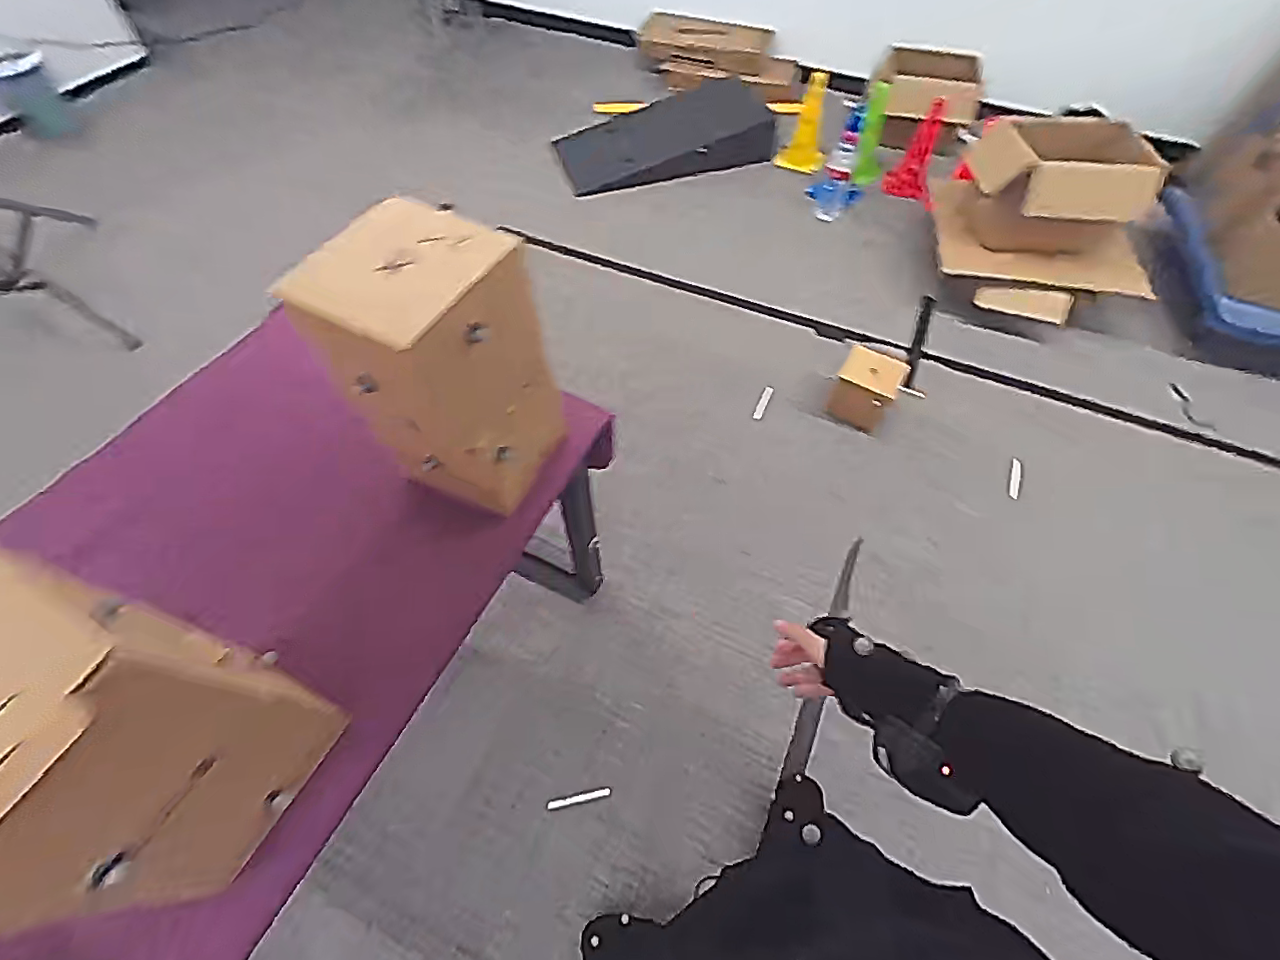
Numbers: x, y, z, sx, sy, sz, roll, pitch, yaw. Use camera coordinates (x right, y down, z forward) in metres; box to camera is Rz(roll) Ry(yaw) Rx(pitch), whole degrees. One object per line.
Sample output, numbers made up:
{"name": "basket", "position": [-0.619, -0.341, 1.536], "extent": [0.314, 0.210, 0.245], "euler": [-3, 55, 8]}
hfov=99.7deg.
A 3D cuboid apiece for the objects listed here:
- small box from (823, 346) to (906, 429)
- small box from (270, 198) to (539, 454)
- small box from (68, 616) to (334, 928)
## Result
{"name": "small box", "position": [0.716, -0.292, 1.739], "extent": [0.179, 0.176, 0.168], "euler": [27, 61, 14]}
{"name": "small box", "position": [-0.226, -0.158, 0.577], "extent": [0.168, 0.176, 0.179], "euler": [25, 61, 14]}
{"name": "small box", "position": [-0.426, 0.263, 0.507], "extent": [0.168, 0.176, 0.179], "euler": [24, 60, 13]}
